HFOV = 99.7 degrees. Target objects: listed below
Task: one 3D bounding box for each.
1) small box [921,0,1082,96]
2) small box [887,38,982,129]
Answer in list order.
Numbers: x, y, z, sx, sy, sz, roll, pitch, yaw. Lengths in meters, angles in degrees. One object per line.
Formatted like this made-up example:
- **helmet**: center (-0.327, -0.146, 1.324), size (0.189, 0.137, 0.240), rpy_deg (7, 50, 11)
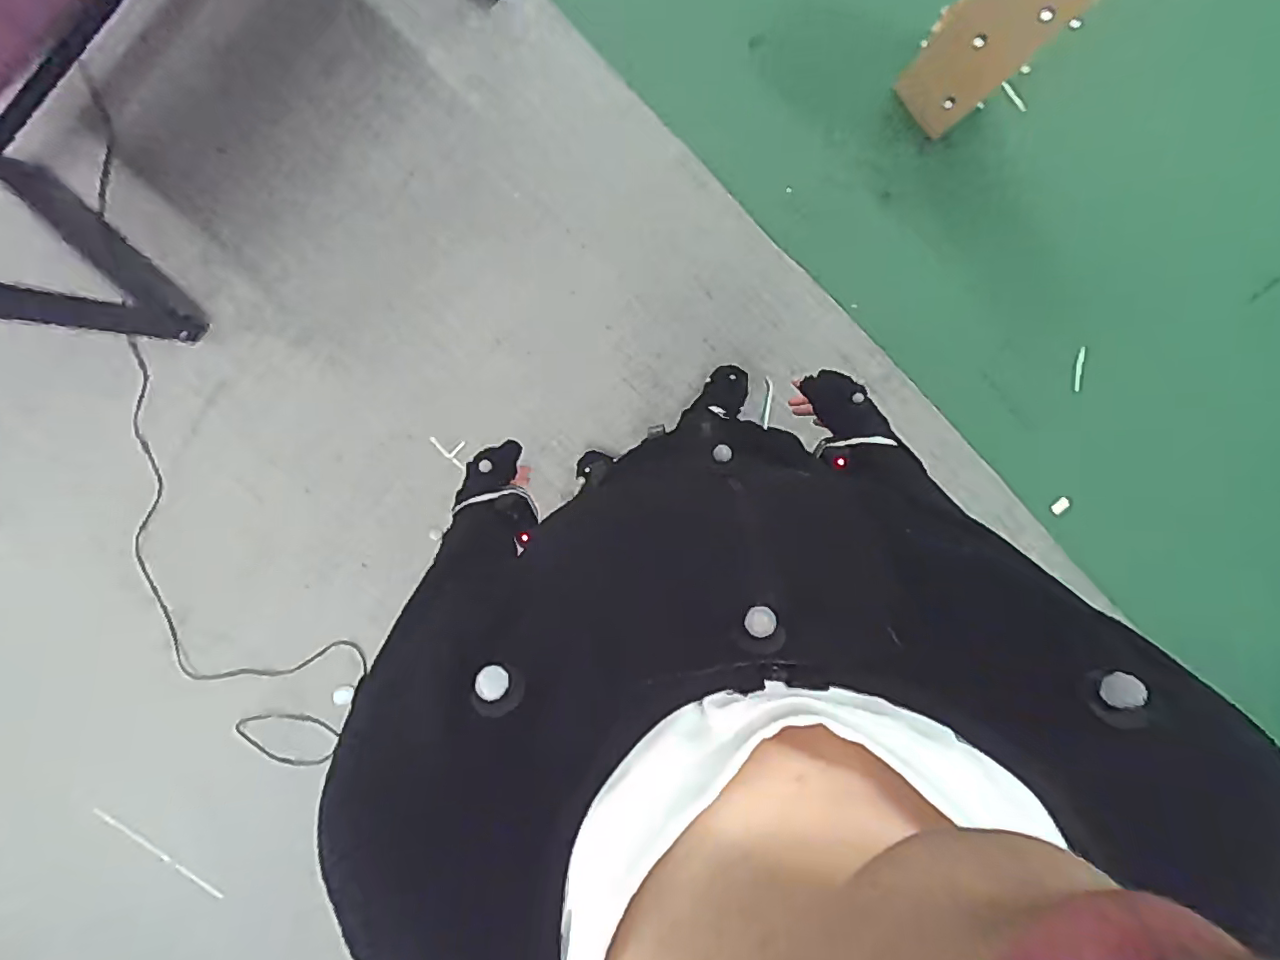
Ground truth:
- **small box**: center (0.721, -0.929, 1.097), size (0.168, 0.176, 0.179), rpy_deg (-43, 97, 6)
- **small box**: center (0.721, -0.961, 1.256), size (0.168, 0.176, 0.179), rpy_deg (-44, 98, 5)
